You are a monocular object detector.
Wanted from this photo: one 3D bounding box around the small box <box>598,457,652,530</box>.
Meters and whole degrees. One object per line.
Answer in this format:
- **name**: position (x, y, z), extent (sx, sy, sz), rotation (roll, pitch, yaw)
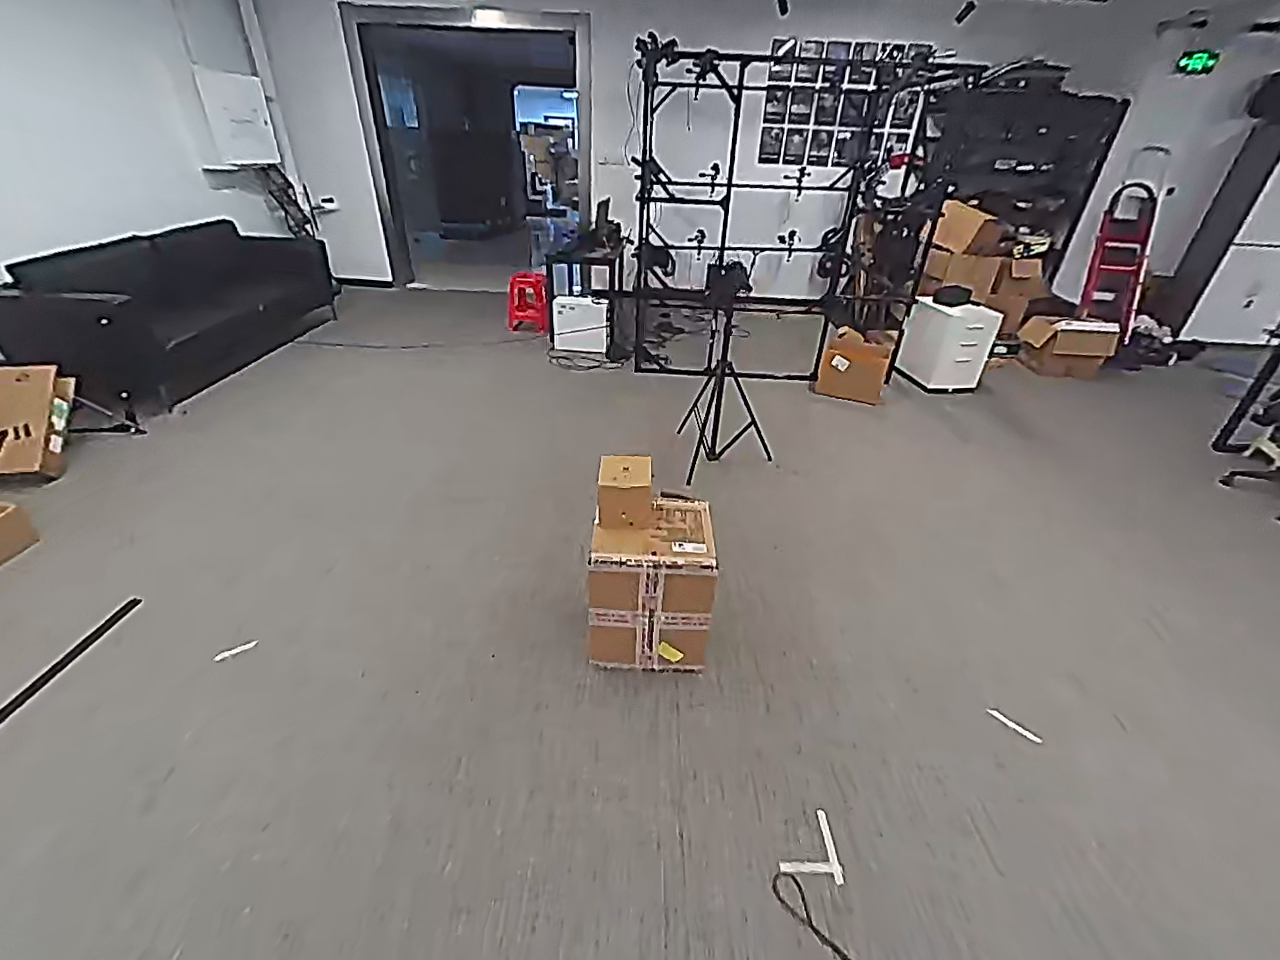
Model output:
- **small box**: position (-0.047, 0.042, 1.762), extent (0.168, 0.176, 0.179), rotation (1, 35, 1)
